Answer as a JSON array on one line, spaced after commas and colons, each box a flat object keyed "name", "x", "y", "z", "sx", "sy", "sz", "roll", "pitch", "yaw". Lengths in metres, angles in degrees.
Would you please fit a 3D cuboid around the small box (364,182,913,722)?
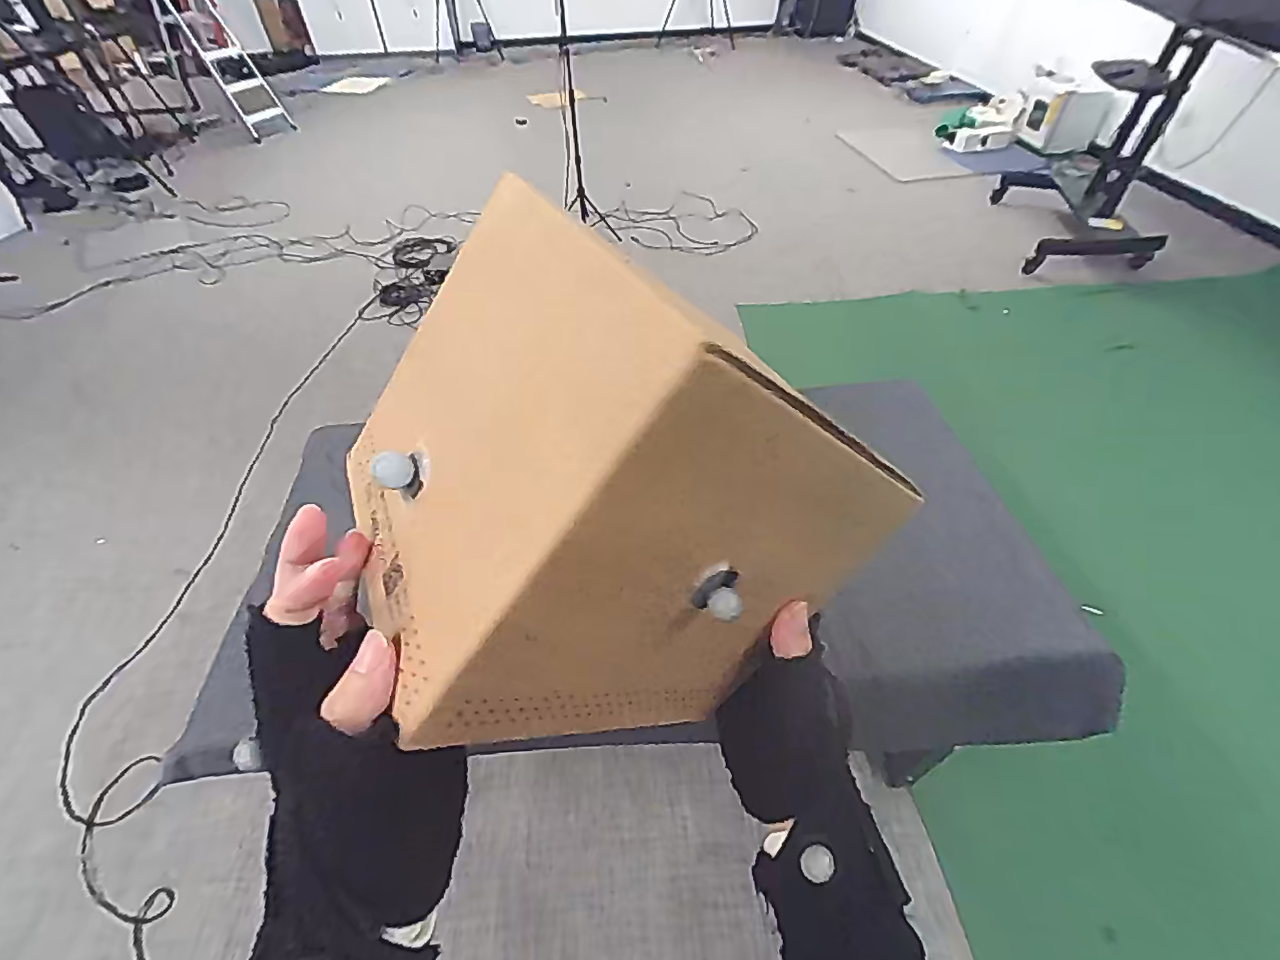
[{"name": "small box", "x": -0.009, "y": -0.002, "z": 0.274, "sx": 0.179, "sy": 0.176, "sz": 0.168, "roll": 19, "pitch": 26, "yaw": -44}]
